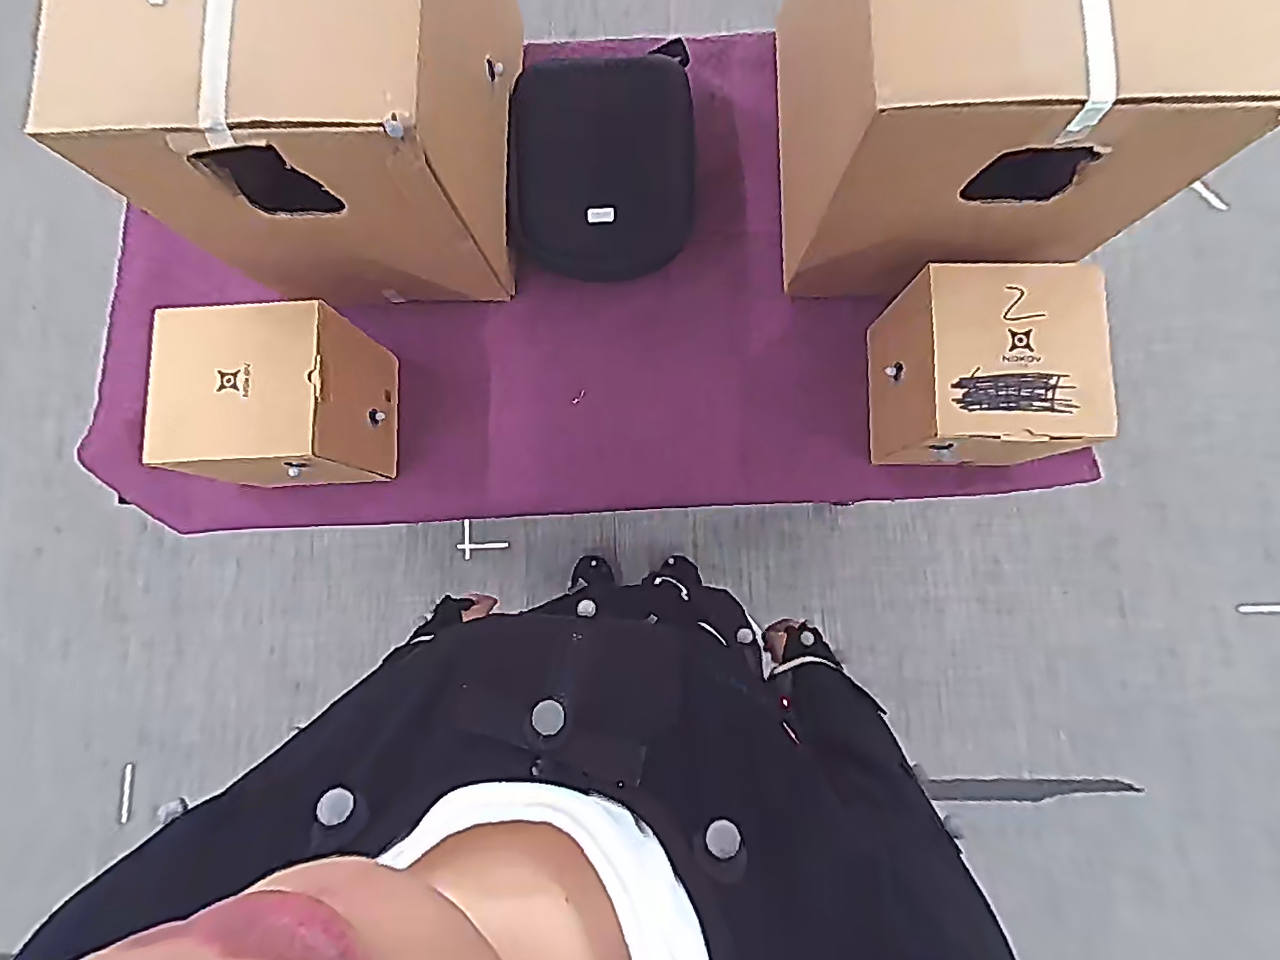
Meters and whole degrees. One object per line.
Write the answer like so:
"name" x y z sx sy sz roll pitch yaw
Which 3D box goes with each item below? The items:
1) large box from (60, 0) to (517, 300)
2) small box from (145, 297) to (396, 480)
"large box" -0.324 -0.455 0.602 0.320 0.320 0.408 -1 86 3
"small box" -0.412 -0.095 0.632 0.179 0.176 0.168 -3 82 1
